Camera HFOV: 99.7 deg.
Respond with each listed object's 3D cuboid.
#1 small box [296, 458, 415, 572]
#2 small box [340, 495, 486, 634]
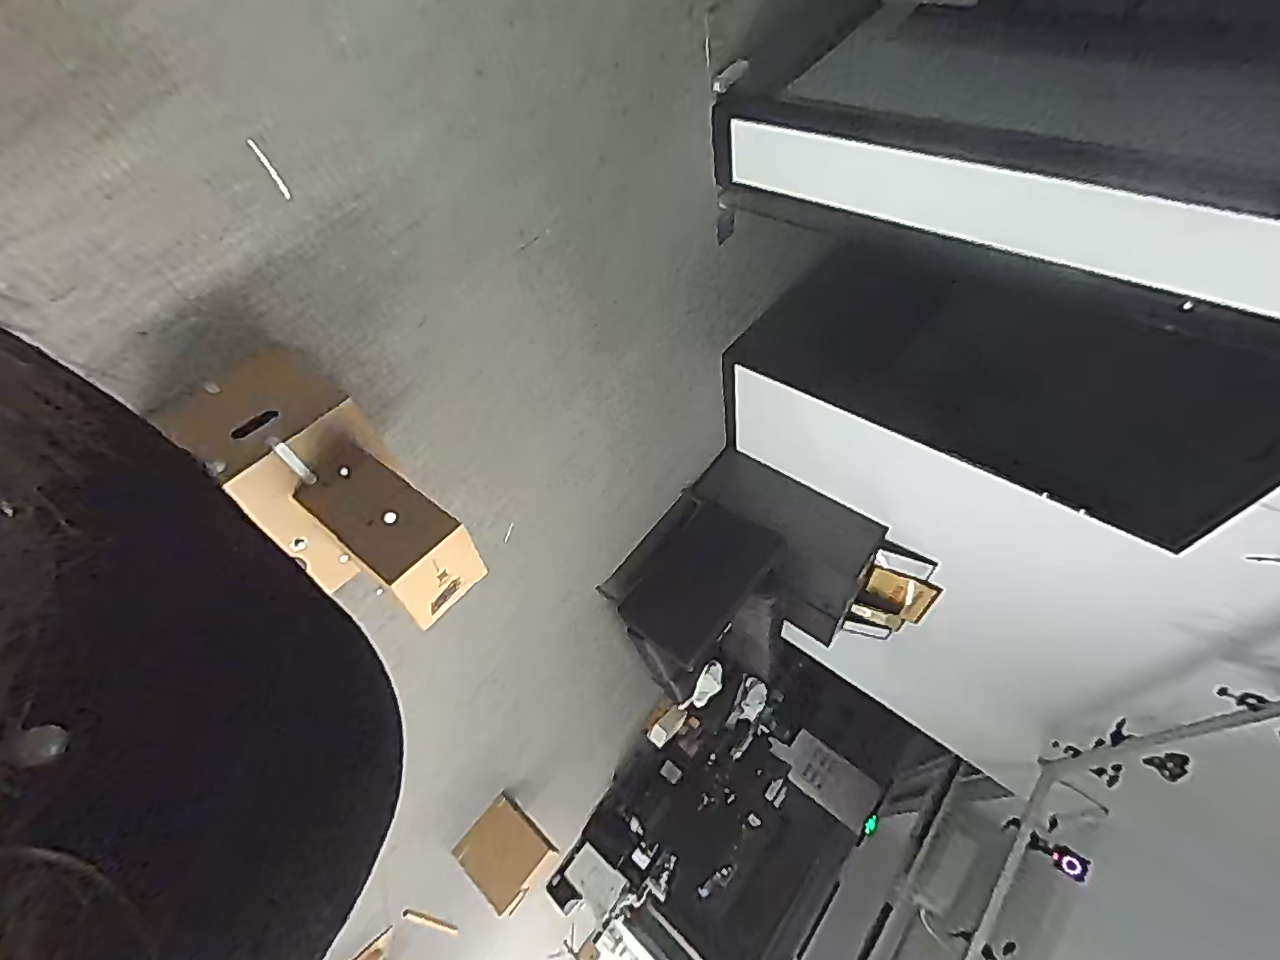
[{"bbox_3d":[-0.566,0.084,1.130,0.168,0.176,0.179,-46,150,-29],"label":"small box"},{"bbox_3d":[-0.439,0.160,1.058,0.168,0.176,0.179,-46,149,-30],"label":"small box"}]
